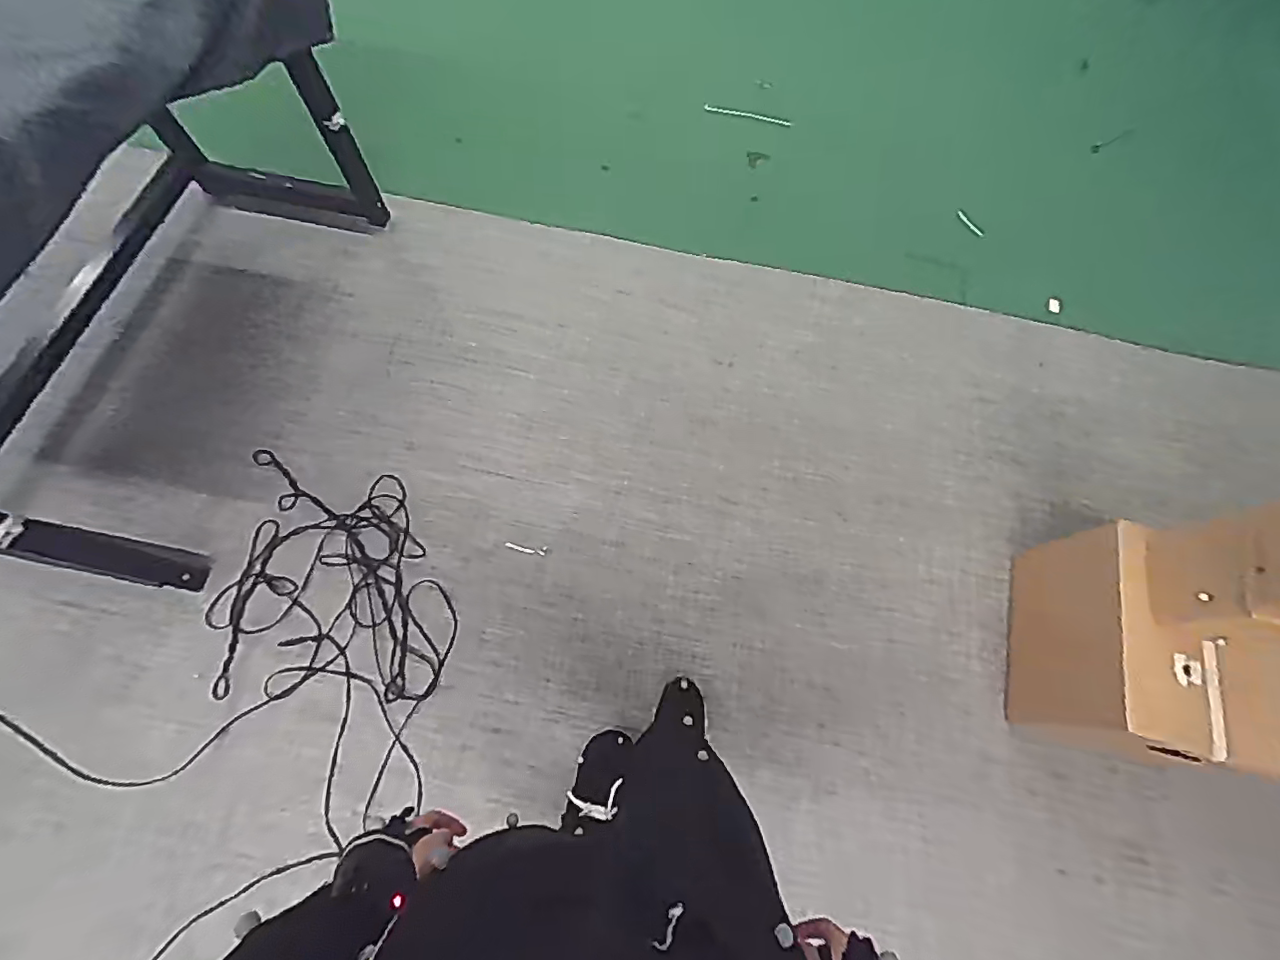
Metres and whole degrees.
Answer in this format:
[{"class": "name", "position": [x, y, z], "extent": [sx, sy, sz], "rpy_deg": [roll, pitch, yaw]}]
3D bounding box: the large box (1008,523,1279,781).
[{"class": "large box", "position": [1.023, 0.348, 1.130], "extent": [0.320, 0.320, 0.408], "rpy_deg": [15, 70, 4]}]

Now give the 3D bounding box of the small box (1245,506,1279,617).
[{"class": "small box", "position": [1.043, 0.125, 0.781], "extent": [0.179, 0.176, 0.168], "rpy_deg": [19, 72, 3]}]
